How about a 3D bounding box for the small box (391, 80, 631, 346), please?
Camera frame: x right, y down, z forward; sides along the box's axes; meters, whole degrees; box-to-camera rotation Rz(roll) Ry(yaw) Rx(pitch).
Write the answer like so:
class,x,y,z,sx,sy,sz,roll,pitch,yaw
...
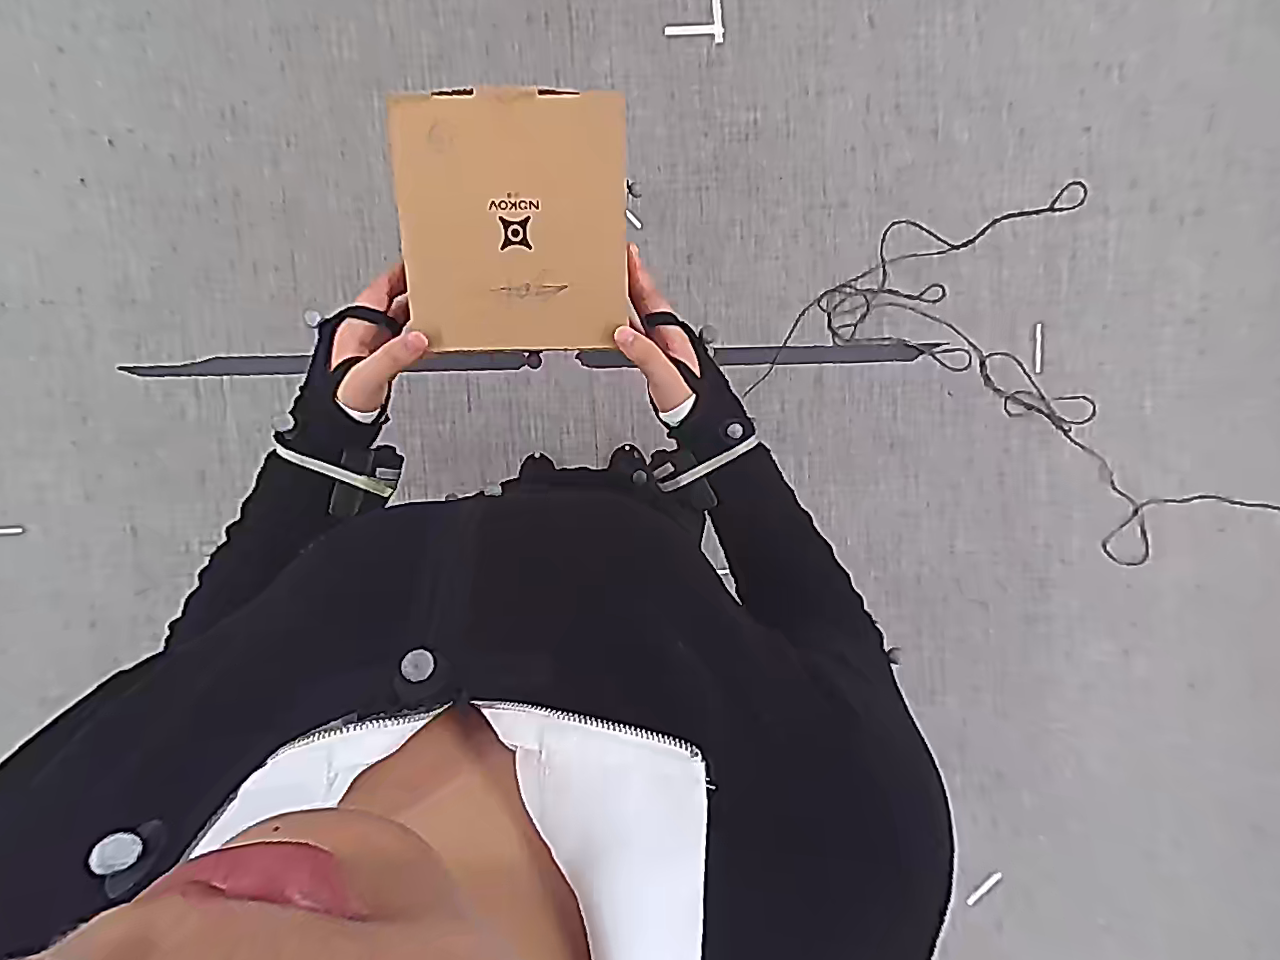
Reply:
class,x,y,z,sx,sy,sz,roll,pitch,yaw
small box,-0.093,-0.208,0.469,0.168,0.176,0.179,-1,104,-2
